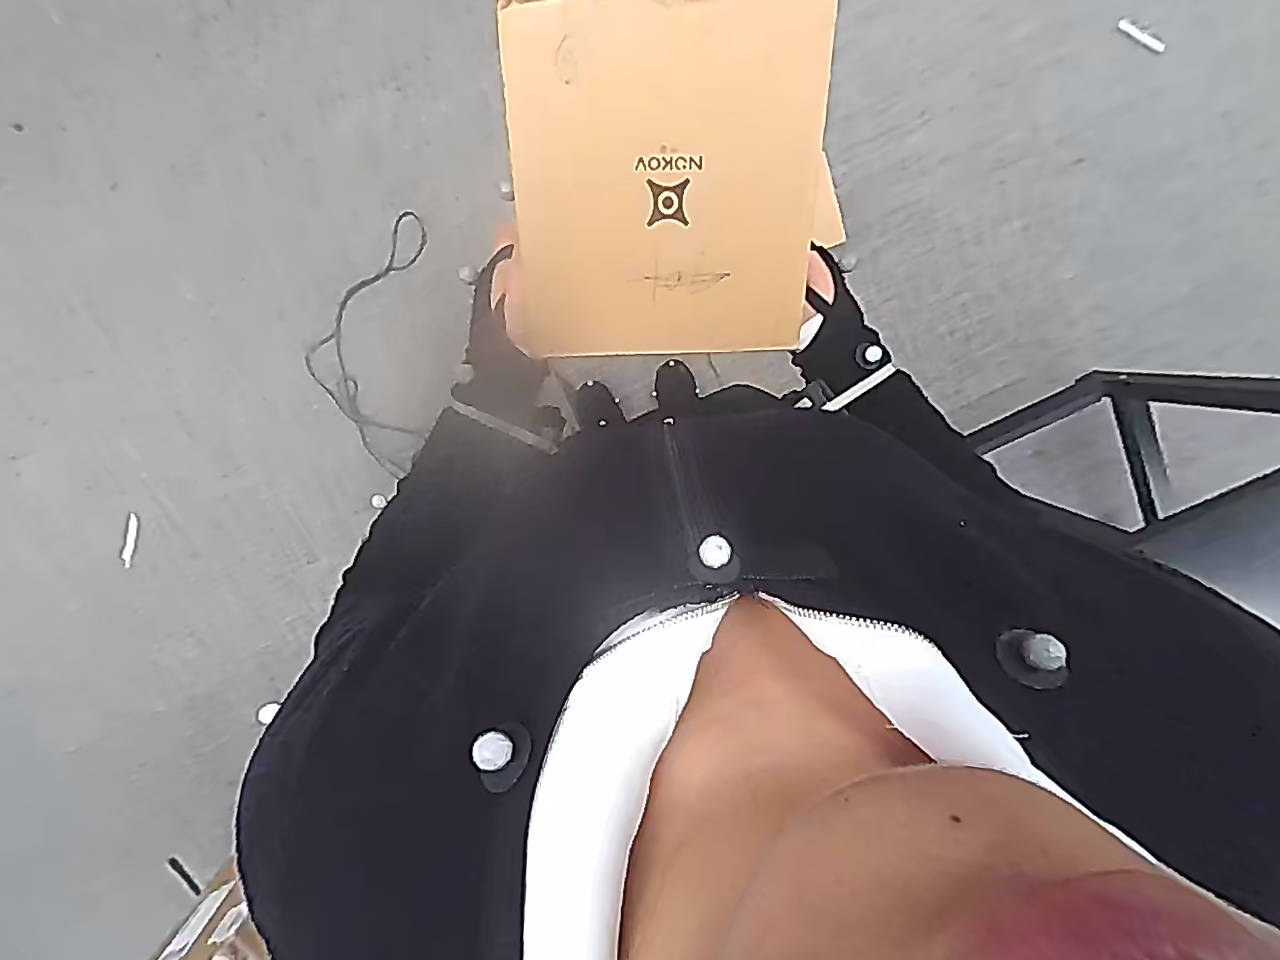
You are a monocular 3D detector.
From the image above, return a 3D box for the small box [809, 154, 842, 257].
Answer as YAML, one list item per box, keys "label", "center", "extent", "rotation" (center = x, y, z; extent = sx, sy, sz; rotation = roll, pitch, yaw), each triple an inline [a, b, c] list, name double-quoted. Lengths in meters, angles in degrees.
- label: "small box"
  center: [0.298, -0.547, 1.138]
  extent: [0.168, 0.176, 0.179]
  rotation: [-20, 102, 1]

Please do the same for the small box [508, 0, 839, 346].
- label: "small box"
  center: [0.011, -0.196, 0.365]
  extent: [0.168, 0.176, 0.179]
  rotation: [-2, 117, -3]
